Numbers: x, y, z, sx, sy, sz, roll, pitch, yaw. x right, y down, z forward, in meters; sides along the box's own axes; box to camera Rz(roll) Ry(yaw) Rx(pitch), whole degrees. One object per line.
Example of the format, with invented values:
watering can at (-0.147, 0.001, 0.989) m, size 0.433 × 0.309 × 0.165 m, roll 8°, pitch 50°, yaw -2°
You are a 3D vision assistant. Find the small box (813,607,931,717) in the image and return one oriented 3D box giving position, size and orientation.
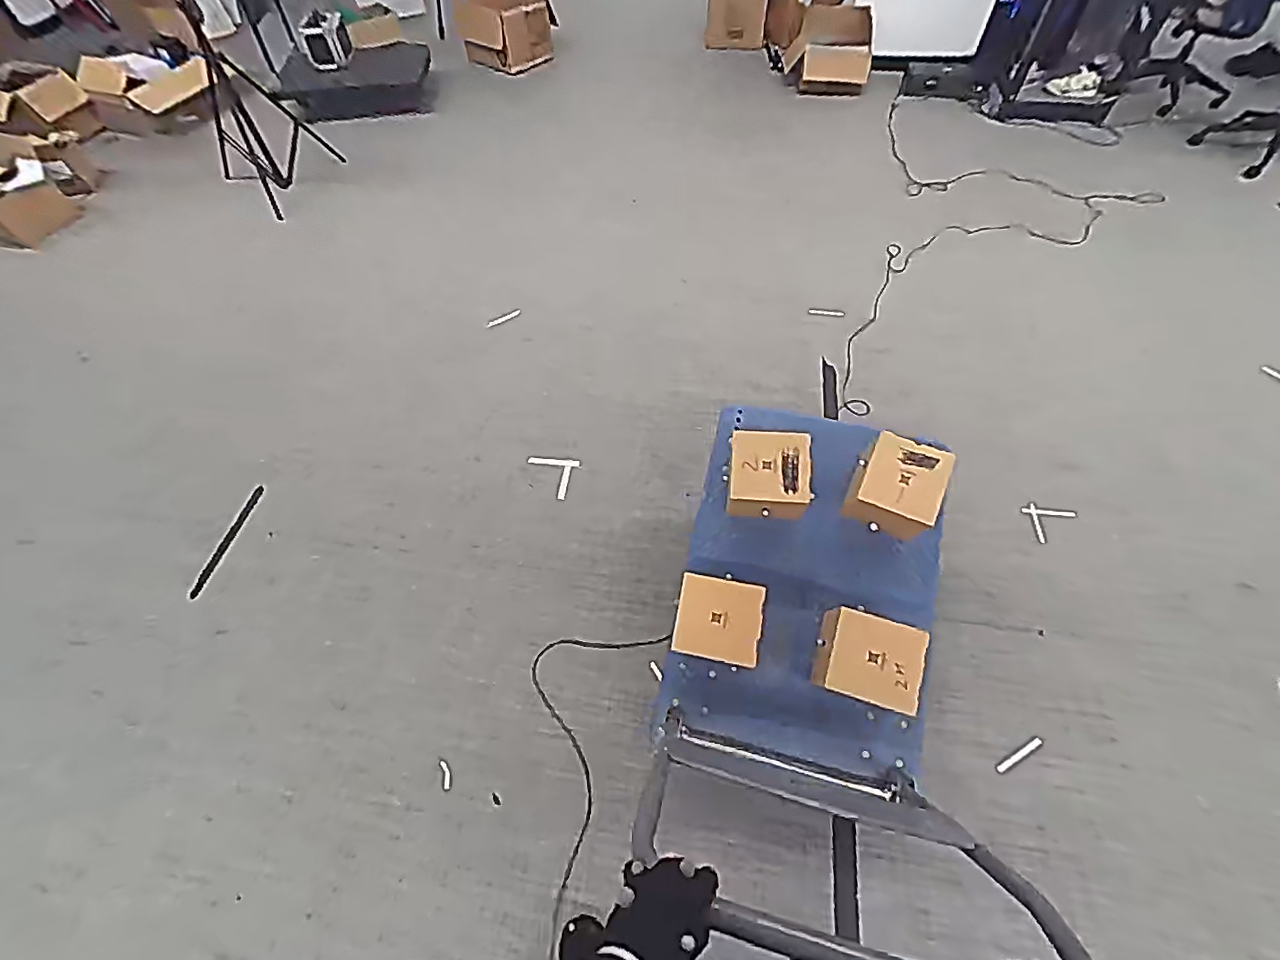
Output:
small box at (0.478, 0.380, 1.140) m, size 0.179 × 0.176 × 0.168 m, roll 16°, pitch 75°, yaw 11°

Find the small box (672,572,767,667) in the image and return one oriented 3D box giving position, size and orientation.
small box at (0.173, 0.312, 1.197) m, size 0.179 × 0.176 × 0.168 m, roll 10°, pitch 73°, yaw 8°

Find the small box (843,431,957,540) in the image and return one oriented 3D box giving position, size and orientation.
small box at (0.588, 0.019, 1.245) m, size 0.168 × 0.176 × 0.179 m, roll 22°, pitch 77°, yaw 13°
